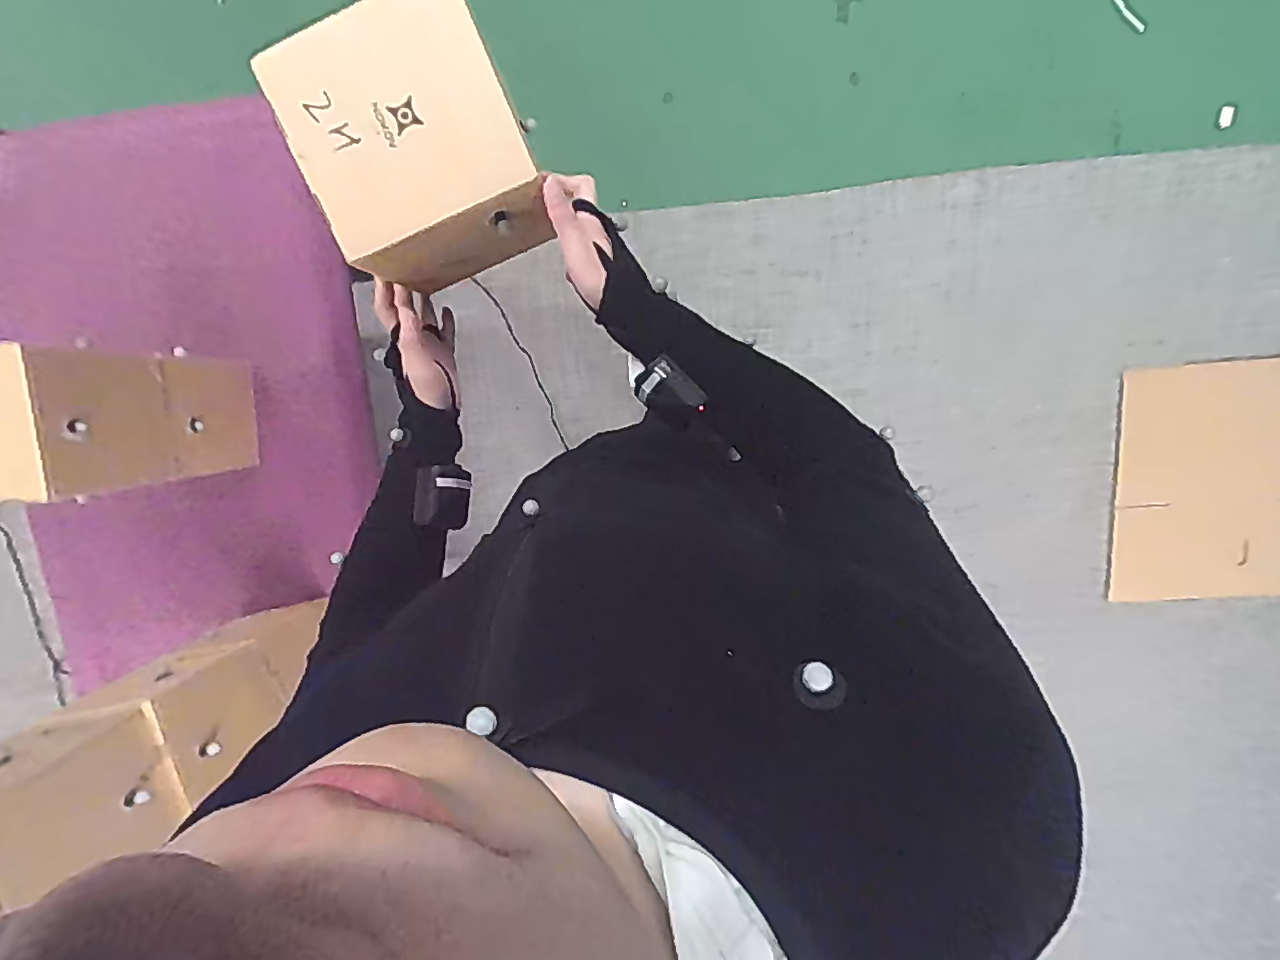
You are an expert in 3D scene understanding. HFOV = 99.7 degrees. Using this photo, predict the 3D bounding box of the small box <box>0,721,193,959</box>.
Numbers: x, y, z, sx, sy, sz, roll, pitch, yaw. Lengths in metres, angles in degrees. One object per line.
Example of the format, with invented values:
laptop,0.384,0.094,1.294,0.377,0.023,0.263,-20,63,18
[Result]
small box,-0.646,0.384,0.583,0.168,0.176,0.179,-11,99,6

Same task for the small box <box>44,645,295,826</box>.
small box,-0.624,0.345,0.741,0.168,0.176,0.179,-12,99,6

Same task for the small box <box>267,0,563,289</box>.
small box,-0.182,-0.298,0.505,0.179,0.176,0.168,-22,99,4

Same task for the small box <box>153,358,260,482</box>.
small box,-0.729,-0.098,0.838,0.168,0.176,0.179,2,99,2

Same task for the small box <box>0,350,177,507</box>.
small box,-0.733,-0.070,0.678,0.168,0.176,0.179,1,99,2
